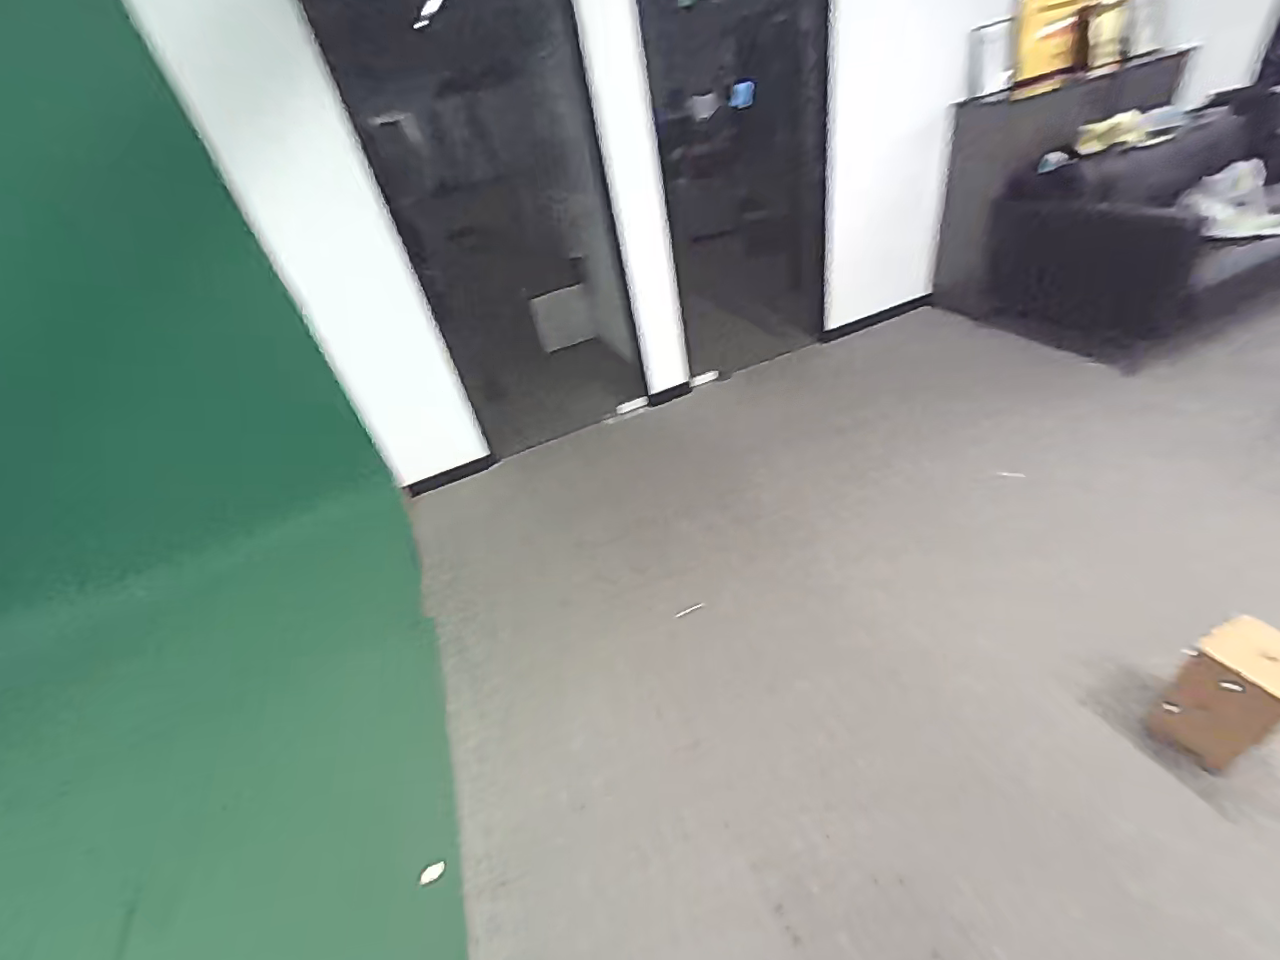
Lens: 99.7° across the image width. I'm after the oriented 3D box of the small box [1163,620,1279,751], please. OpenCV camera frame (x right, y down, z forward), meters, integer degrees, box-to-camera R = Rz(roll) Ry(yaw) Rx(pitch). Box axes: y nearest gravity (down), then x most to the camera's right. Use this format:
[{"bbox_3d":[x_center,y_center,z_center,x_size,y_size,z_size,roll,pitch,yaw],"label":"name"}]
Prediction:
[{"bbox_3d":[1.323,0.450,1.189,0.168,0.176,0.179,-23,38,-13],"label":"small box"}]
